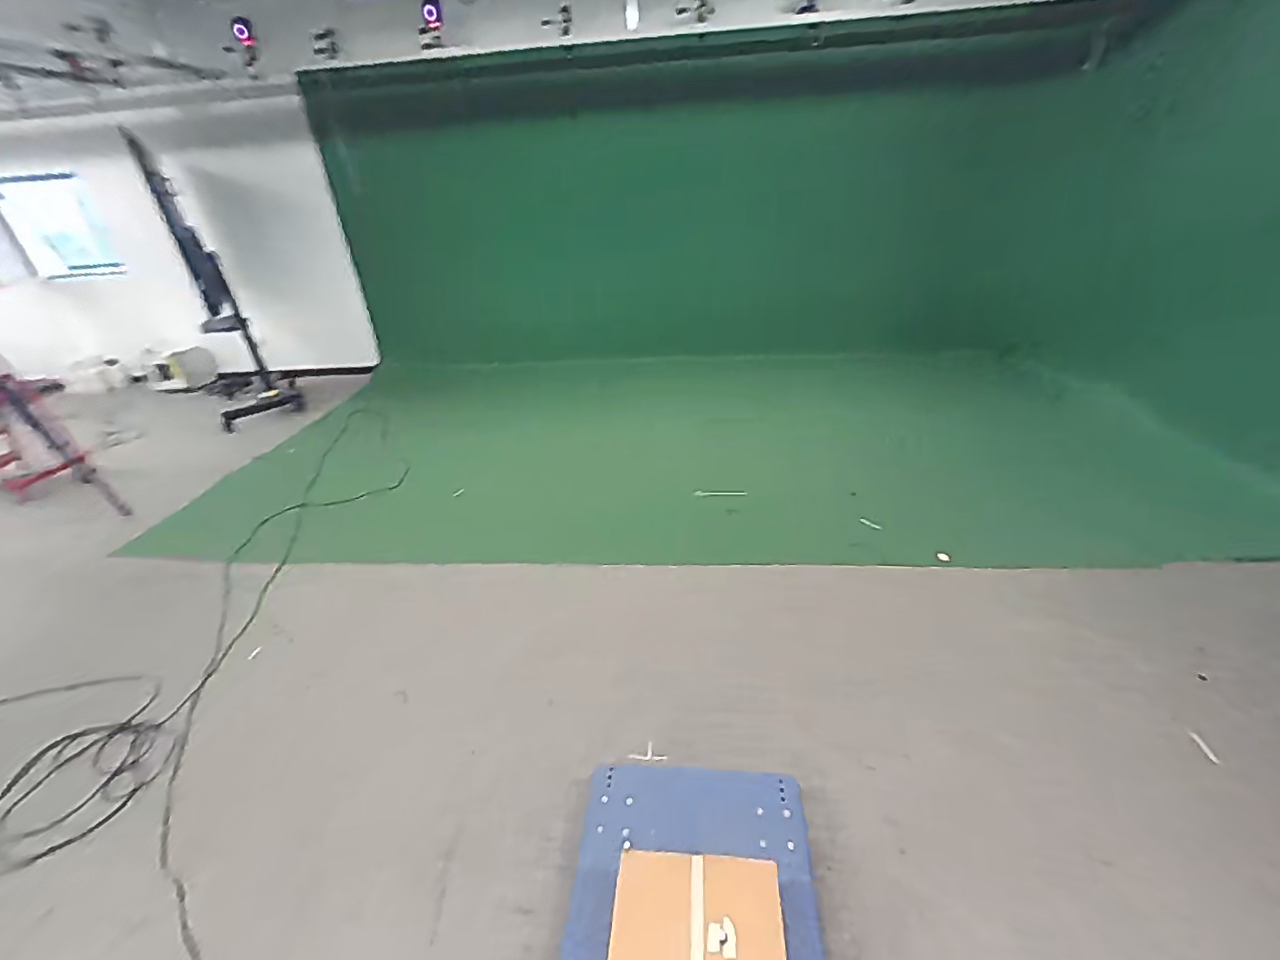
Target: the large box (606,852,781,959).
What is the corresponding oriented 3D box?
[{"bbox_3d":[0.100,0.994,0.998,0.320,0.320,0.408,1,29,7],"label":"large box"}]
